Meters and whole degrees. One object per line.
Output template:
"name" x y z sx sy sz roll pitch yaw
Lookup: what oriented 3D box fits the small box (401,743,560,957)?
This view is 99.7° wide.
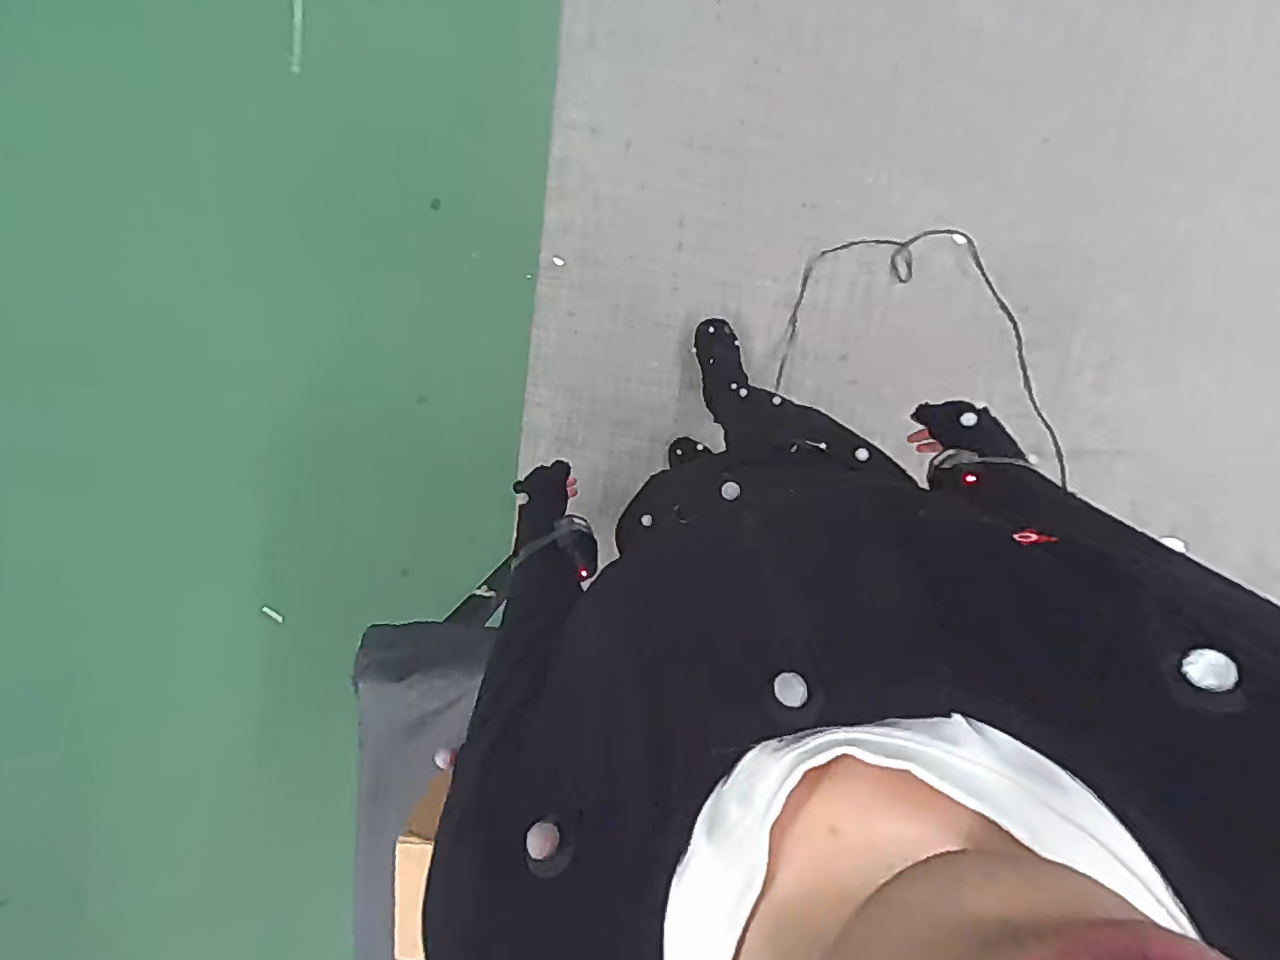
"small box" -0.211 0.498 0.751 0.168 0.176 0.179 5 102 4
